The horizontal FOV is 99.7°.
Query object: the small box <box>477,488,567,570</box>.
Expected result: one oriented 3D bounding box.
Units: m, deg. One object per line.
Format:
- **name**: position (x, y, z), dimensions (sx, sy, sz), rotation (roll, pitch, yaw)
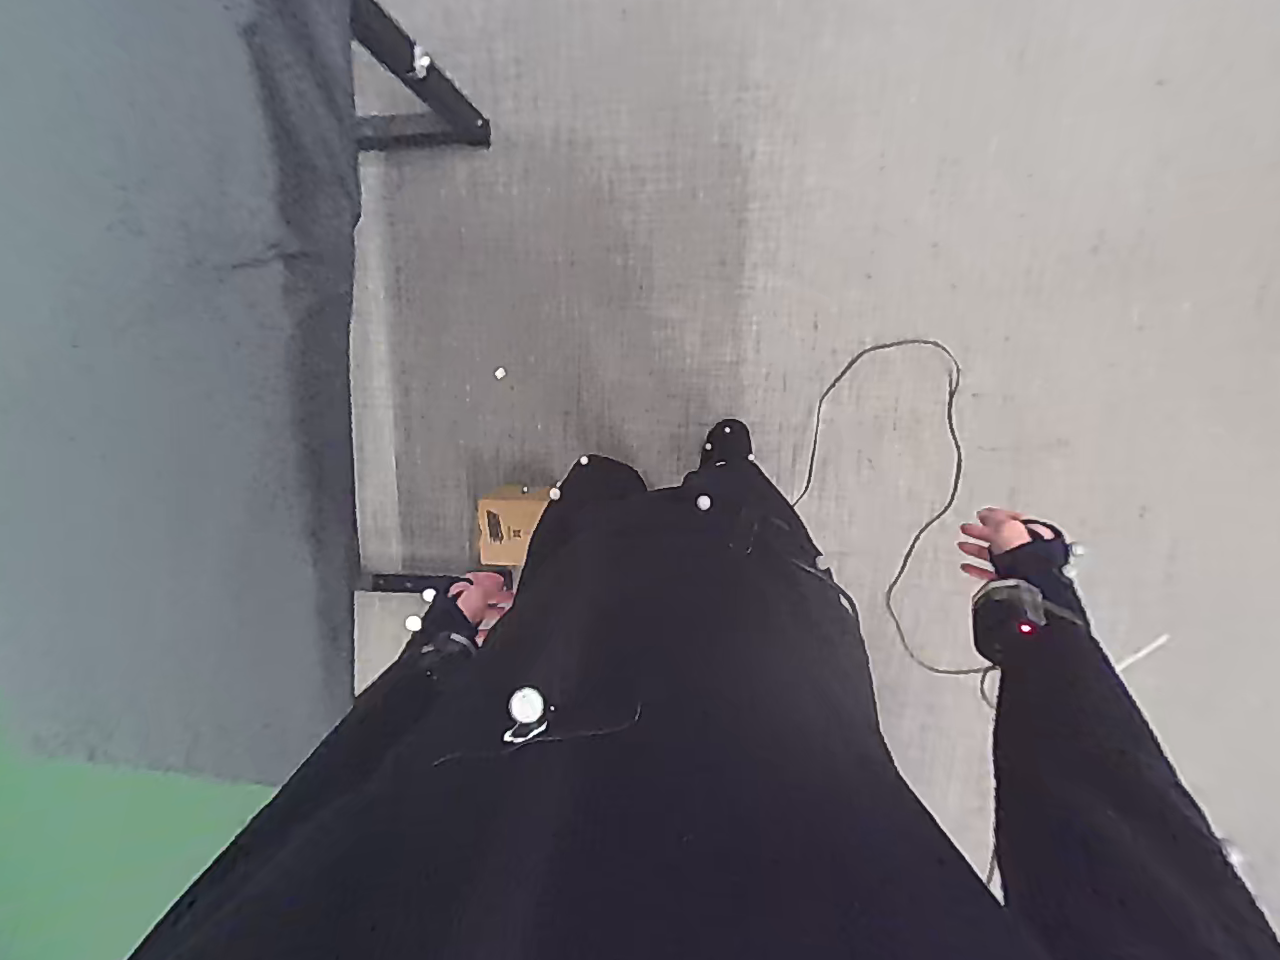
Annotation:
- **small box**: position (-0.292, 0.118, 1.364), dimensions (0.179, 0.176, 0.168), rotation (0, 101, 7)
